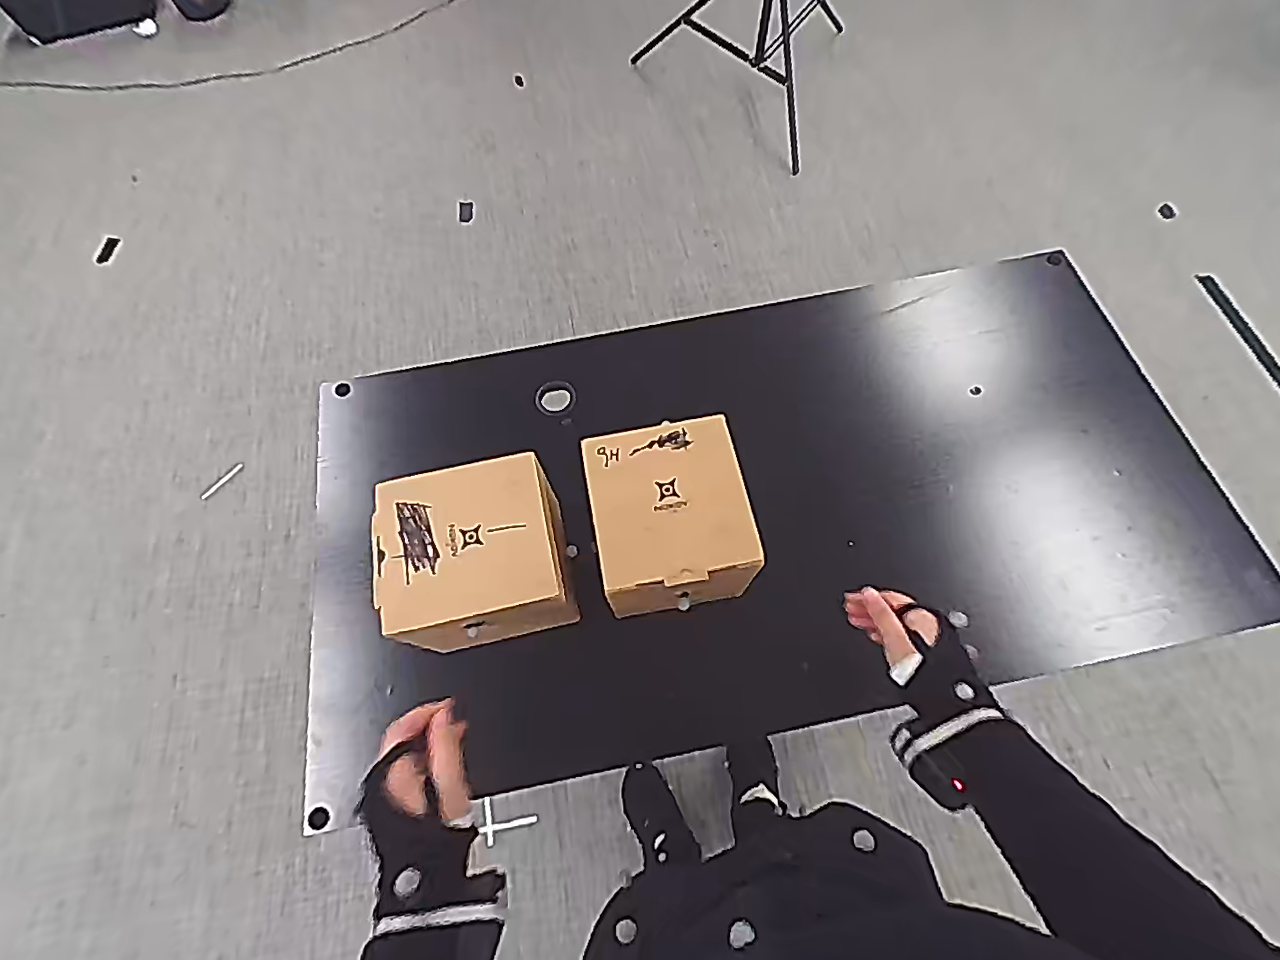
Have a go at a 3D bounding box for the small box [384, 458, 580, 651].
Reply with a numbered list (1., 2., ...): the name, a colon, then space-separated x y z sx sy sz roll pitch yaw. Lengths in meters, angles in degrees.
1. small box: -0.179 0.097 0.643 0.179 0.176 0.168 -12 67 -4
